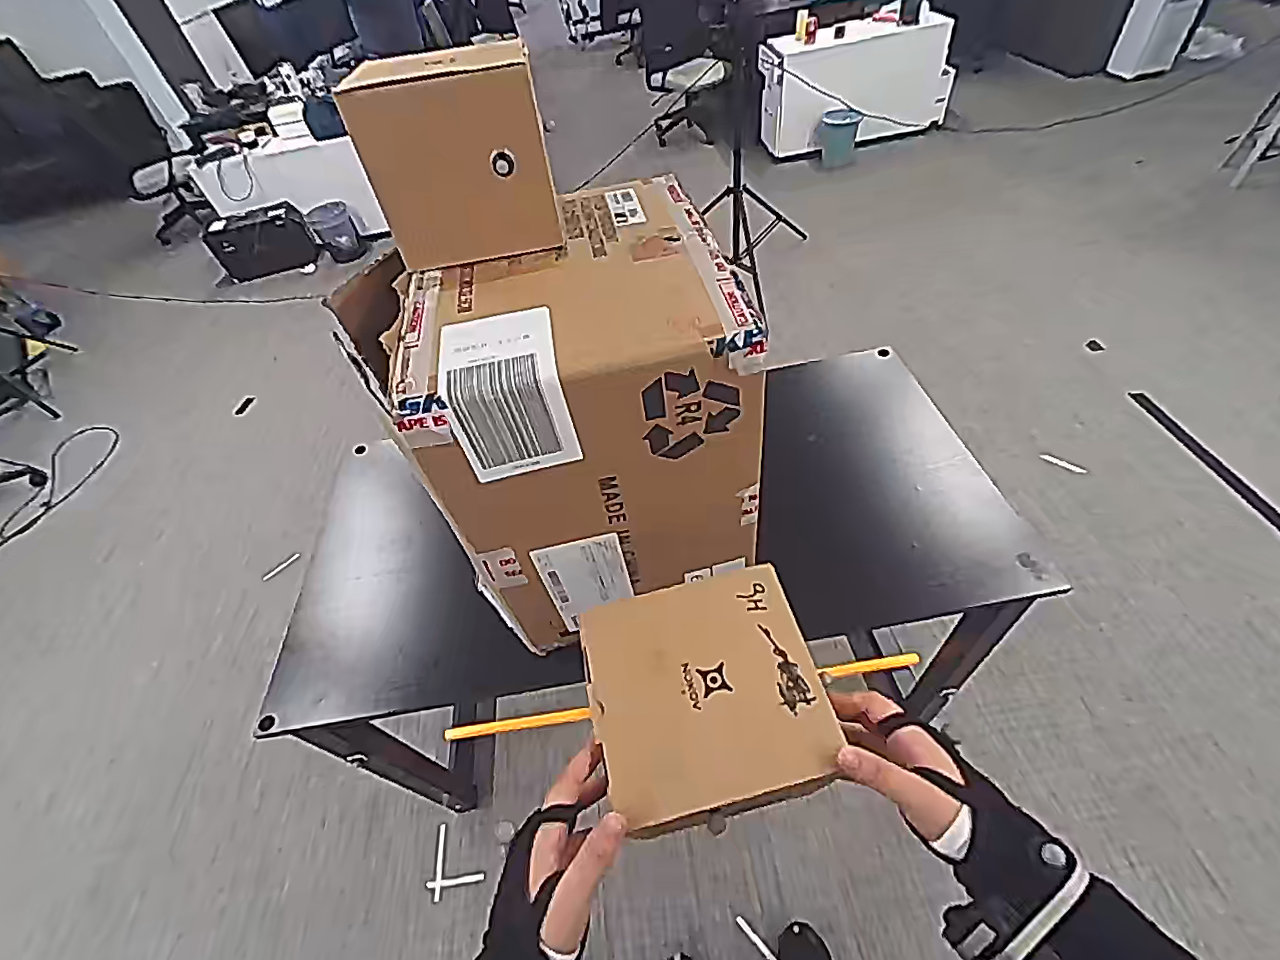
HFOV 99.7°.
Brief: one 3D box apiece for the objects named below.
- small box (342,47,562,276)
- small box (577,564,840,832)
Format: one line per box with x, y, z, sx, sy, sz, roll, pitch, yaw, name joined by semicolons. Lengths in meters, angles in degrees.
-0.187;-0.350;0.598;0.179;0.176;0.168;-12;45;-2;small box
0.054;0.203;0.491;0.179;0.176;0.168;-13;54;-3;small box
